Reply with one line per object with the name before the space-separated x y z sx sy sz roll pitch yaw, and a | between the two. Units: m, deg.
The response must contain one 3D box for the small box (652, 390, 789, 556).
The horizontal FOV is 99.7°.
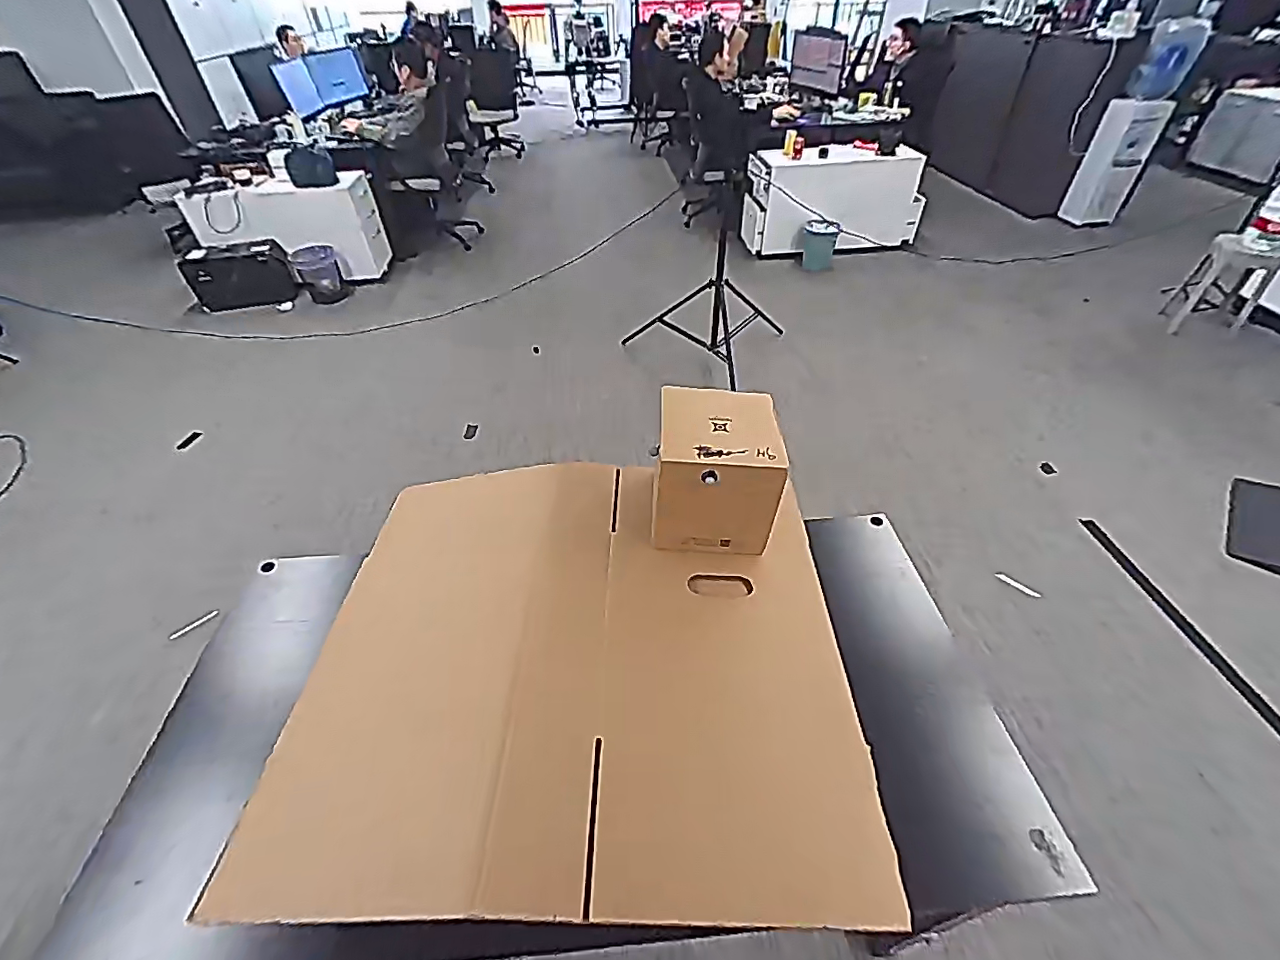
small box | 0.105 -0.012 0.794 0.168 0.176 0.179 3 41 0
